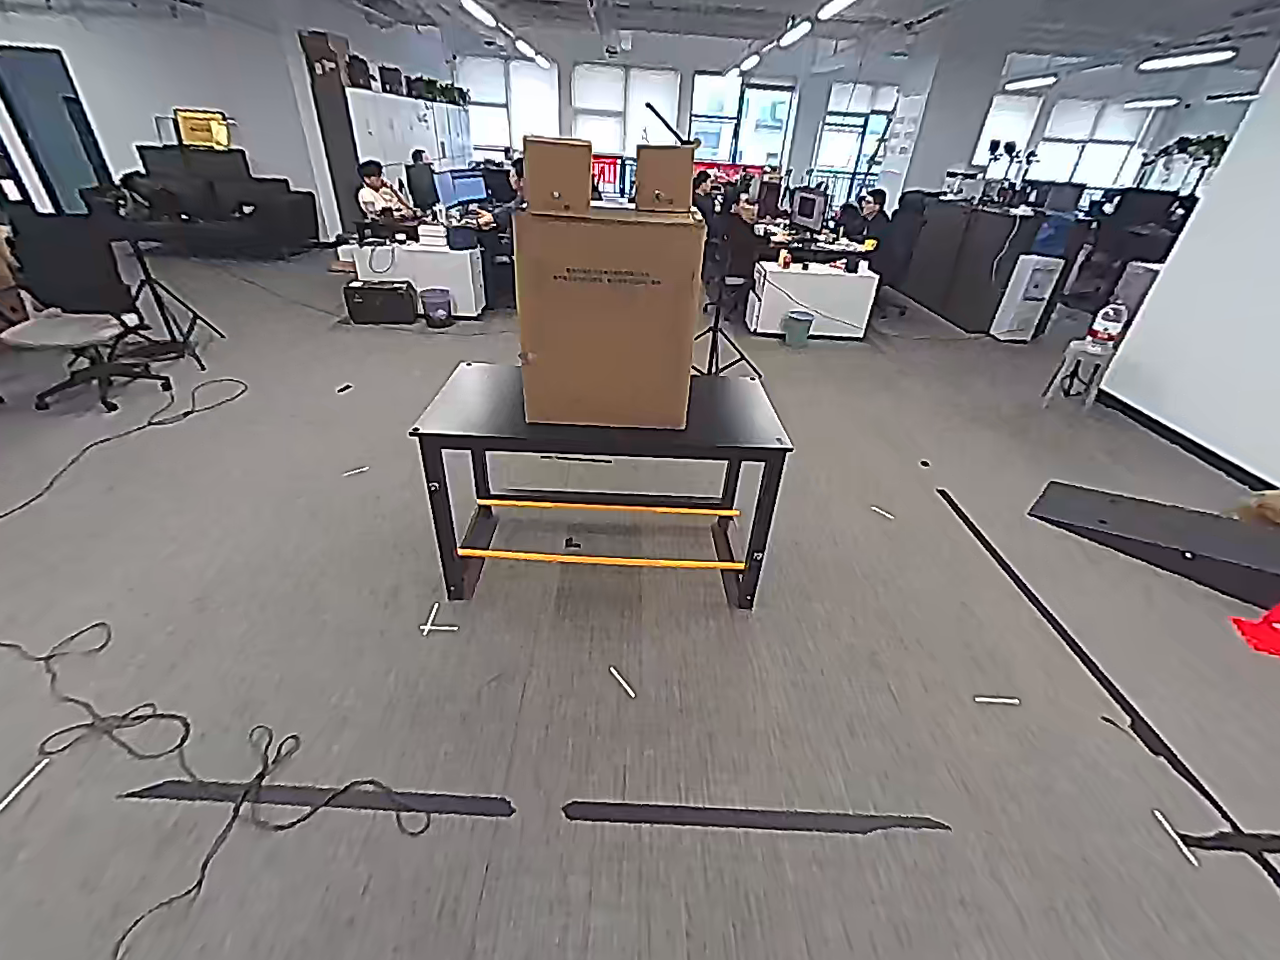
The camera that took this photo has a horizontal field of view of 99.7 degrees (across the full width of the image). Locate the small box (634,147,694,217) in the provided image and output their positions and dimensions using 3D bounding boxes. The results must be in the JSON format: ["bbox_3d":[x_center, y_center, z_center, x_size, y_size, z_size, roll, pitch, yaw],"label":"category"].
[{"bbox_3d":[0.070,-0.888,1.608,0.168,0.176,0.179,2,31,1],"label":"small box"}]
